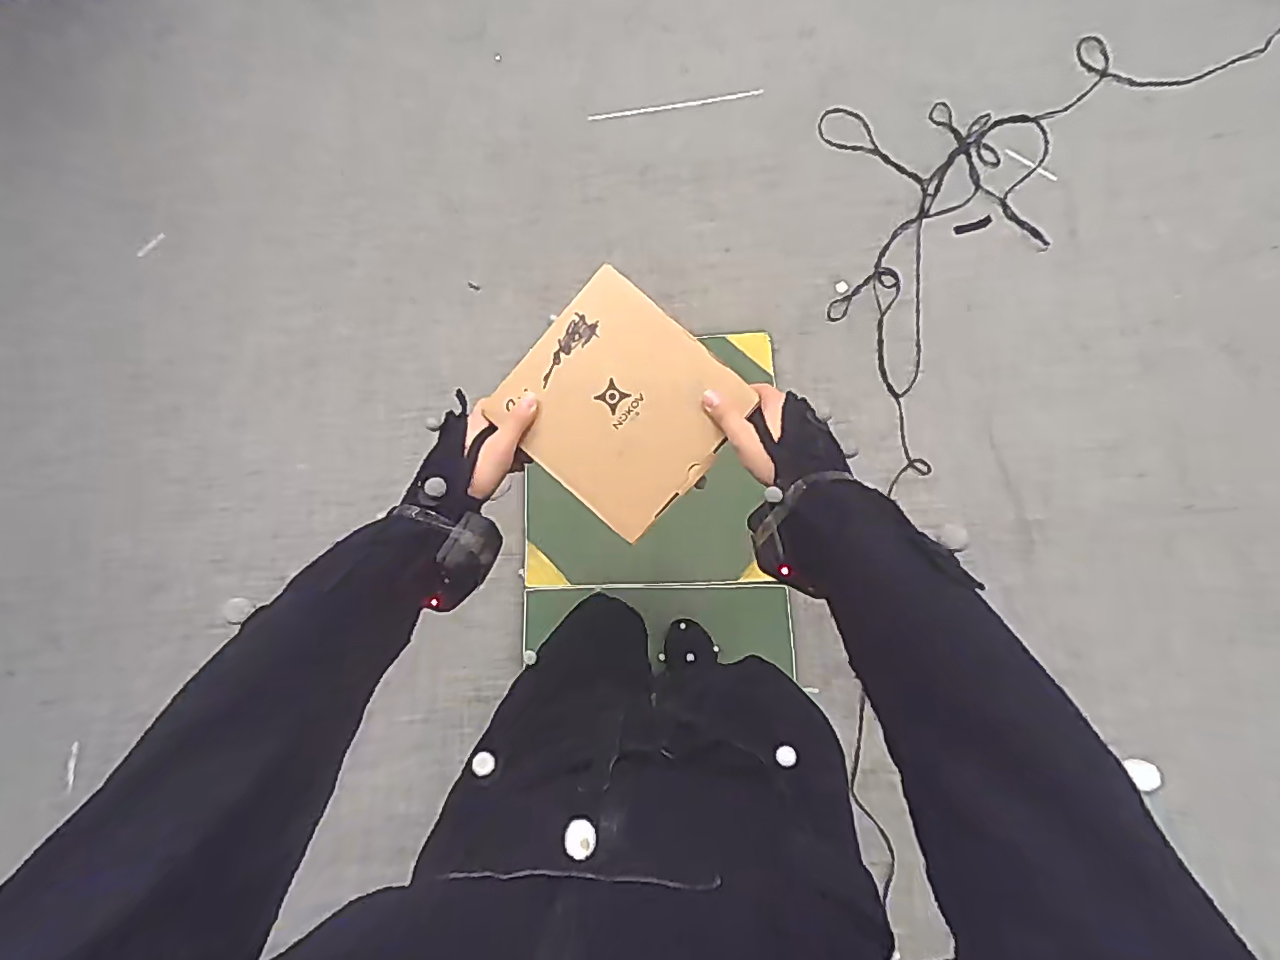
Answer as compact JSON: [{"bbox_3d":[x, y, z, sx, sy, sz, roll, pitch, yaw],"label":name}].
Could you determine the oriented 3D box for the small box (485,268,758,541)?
[{"bbox_3d":[-0.013,-0.066,0.535,0.179,0.176,0.168,42,92,2],"label":"small box"}]
